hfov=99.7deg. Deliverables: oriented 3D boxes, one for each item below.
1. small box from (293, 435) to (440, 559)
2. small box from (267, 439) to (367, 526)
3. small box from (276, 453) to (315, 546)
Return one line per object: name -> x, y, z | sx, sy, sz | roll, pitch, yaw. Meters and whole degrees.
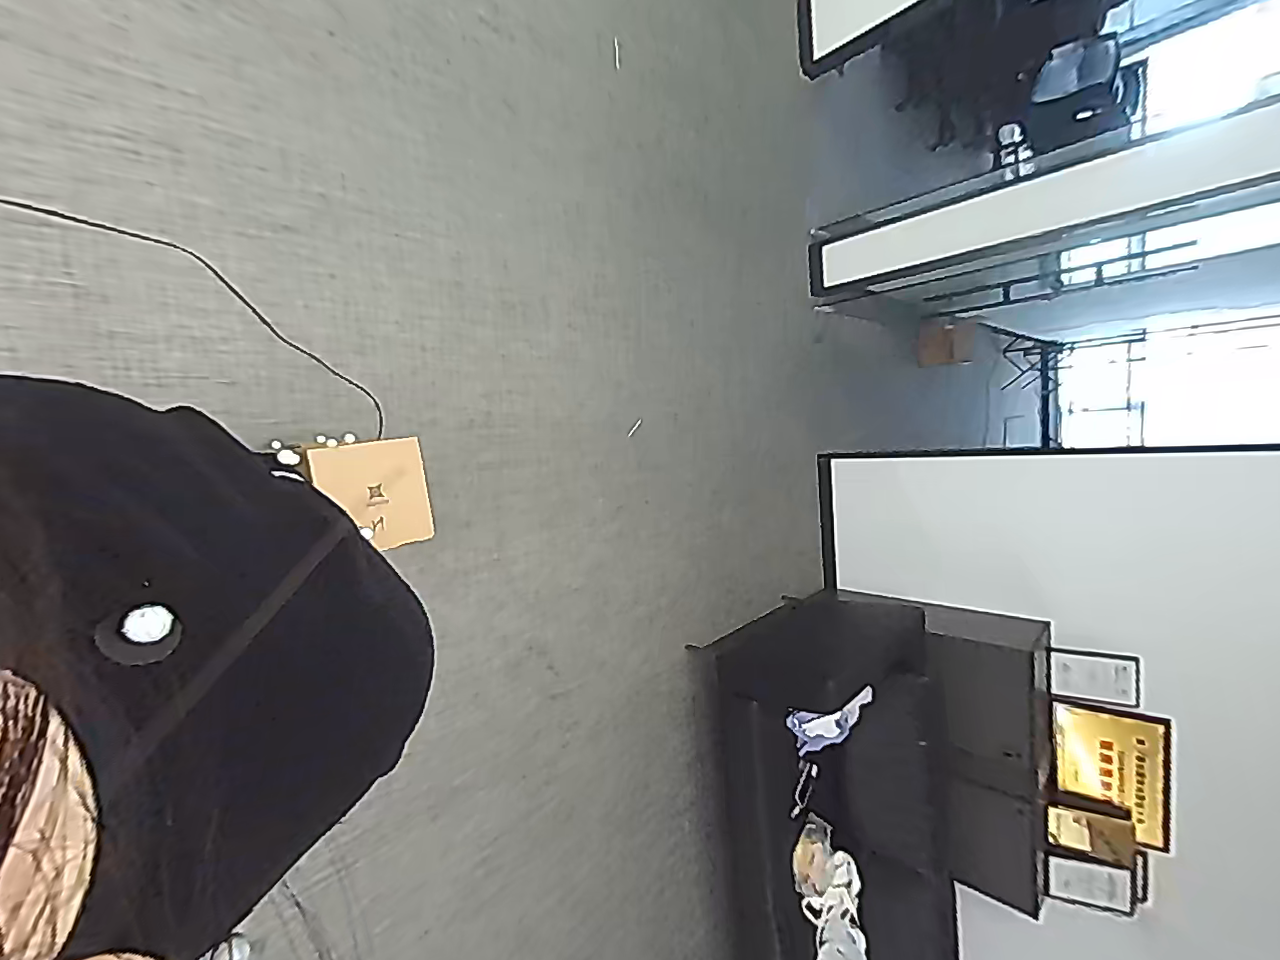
small box -> -0.463, 0.023, 0.912 | 0.168, 0.176, 0.179 | -13, 100, -42
small box -> -0.678, 0.011, 1.160 | 0.168, 0.176, 0.179 | -15, 102, -42
small box -> -0.574, 0.022, 1.034 | 0.179, 0.176, 0.168 | -15, 101, -43
